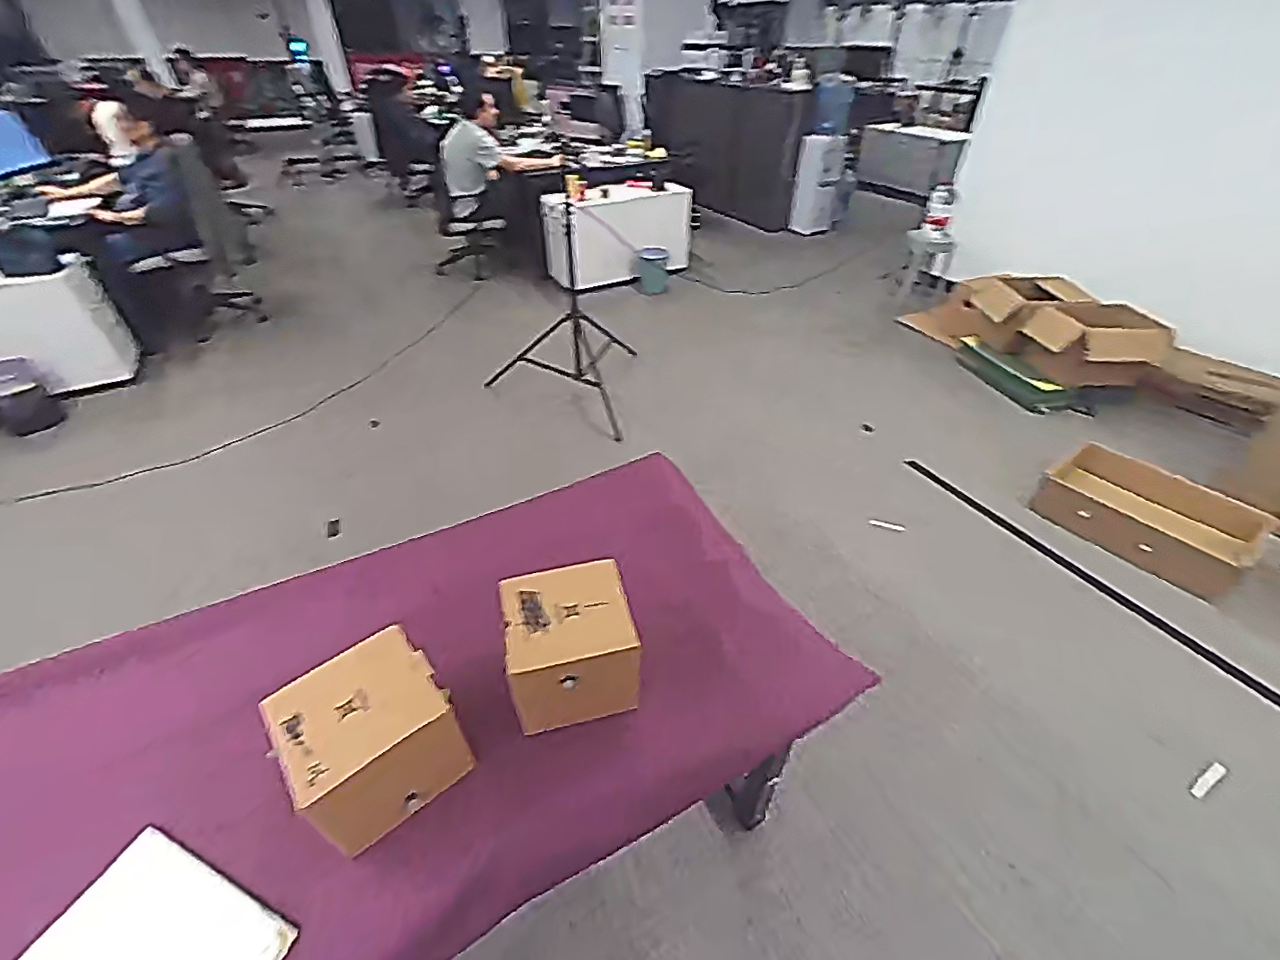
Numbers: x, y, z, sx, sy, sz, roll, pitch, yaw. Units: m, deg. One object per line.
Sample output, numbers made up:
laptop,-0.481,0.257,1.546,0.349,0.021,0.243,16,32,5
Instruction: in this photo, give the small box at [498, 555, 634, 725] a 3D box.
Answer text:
small box,-0.111,0.243,0.821,0.179,0.176,0.168,-9,40,-11

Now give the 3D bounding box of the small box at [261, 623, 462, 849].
small box,-0.353,0.334,0.715,0.179,0.176,0.168,-29,47,-31
